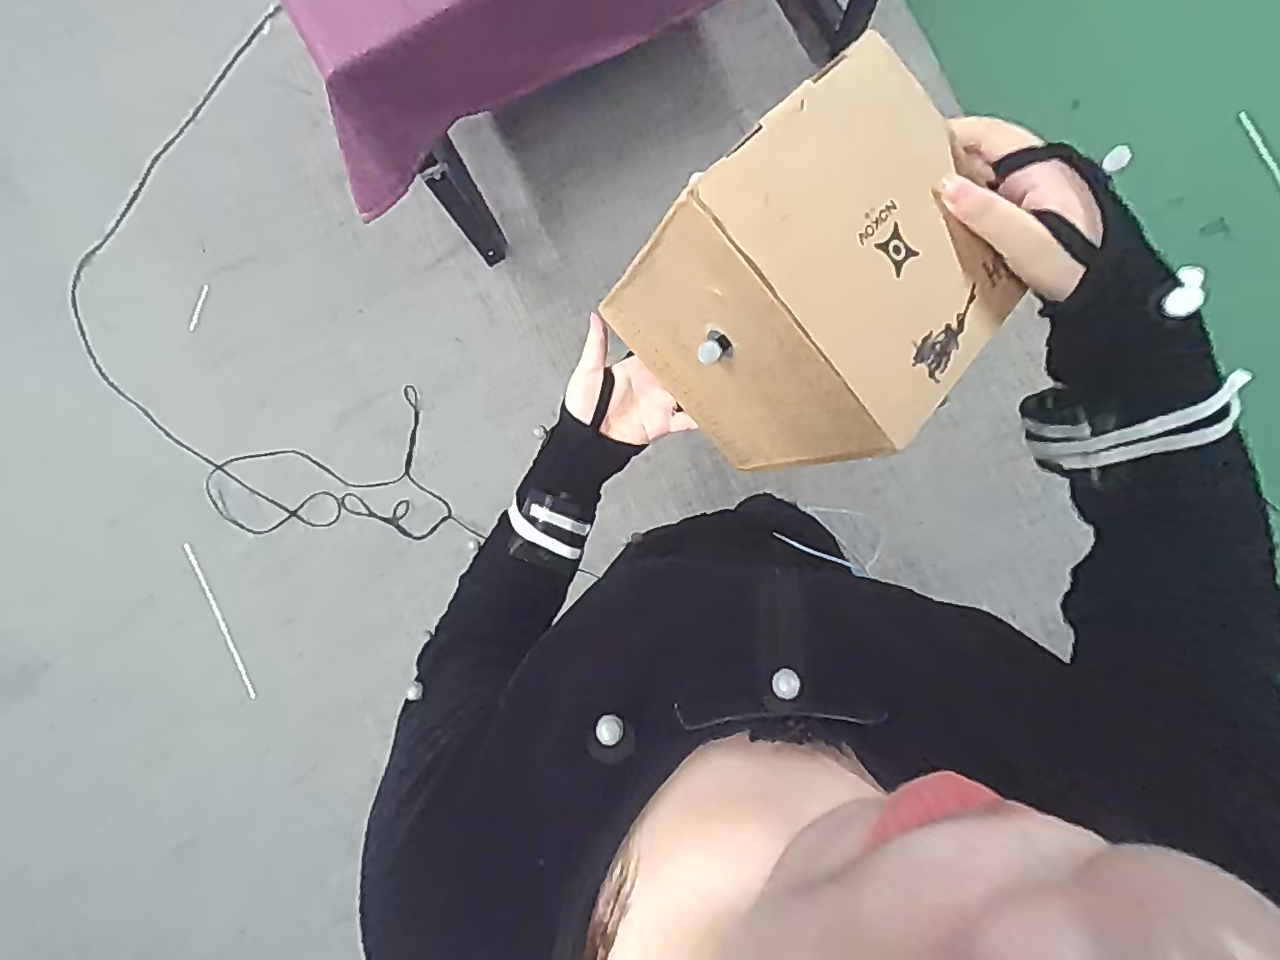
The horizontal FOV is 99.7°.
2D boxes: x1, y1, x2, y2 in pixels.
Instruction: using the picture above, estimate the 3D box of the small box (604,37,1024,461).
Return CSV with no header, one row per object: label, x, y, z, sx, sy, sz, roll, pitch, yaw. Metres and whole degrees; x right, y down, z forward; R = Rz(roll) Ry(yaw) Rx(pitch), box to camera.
small box,0.101,-0.128,0.372,0.179,0.176,0.168,46,74,-12
